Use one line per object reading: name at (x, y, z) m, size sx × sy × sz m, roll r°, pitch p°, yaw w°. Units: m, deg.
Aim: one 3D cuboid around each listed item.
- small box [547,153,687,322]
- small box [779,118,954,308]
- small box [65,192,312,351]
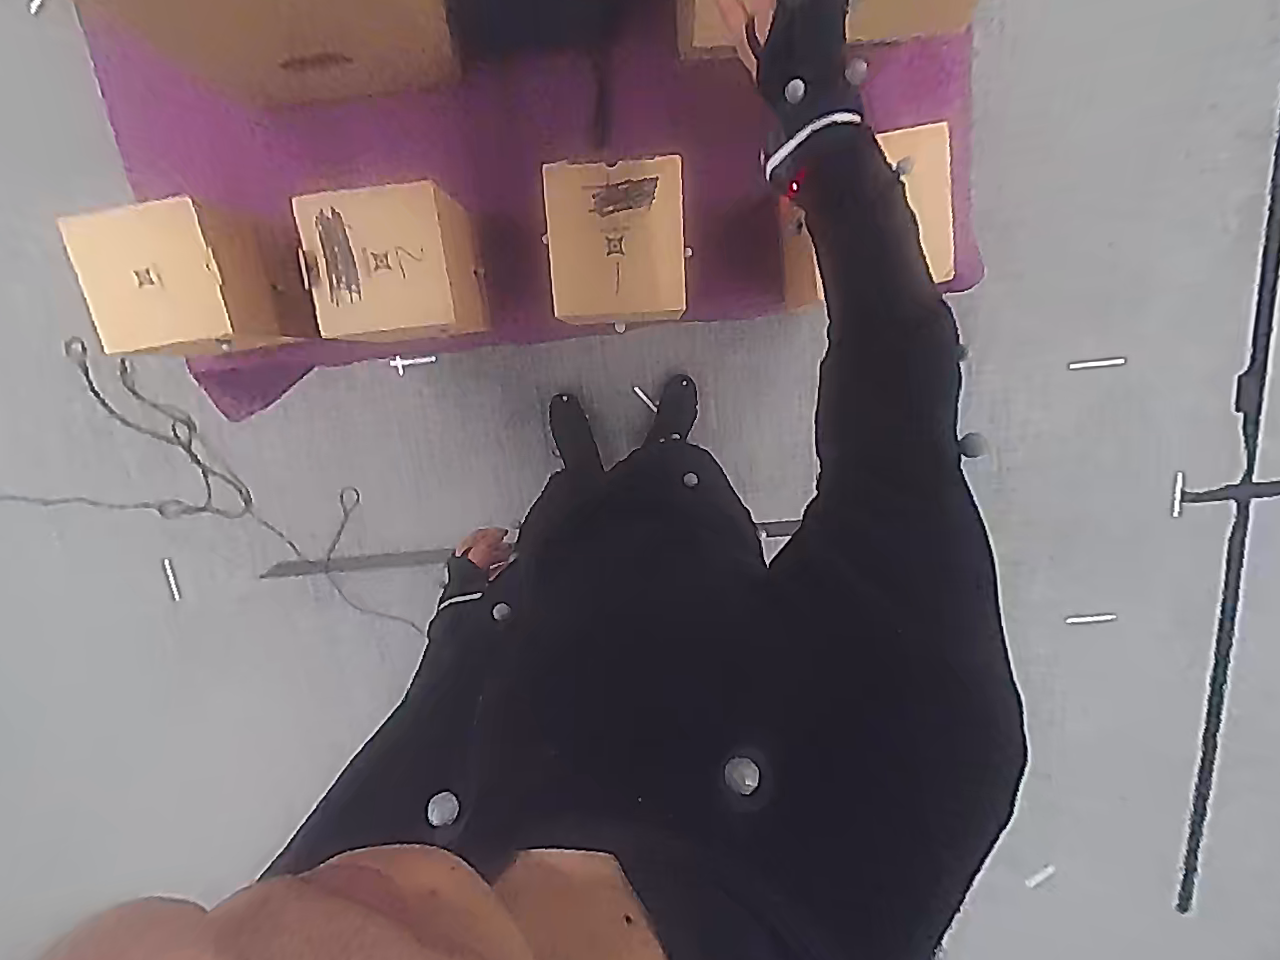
small box at (-0.025, -0.312, 0.728) m, size 0.168 × 0.176 × 0.179 m, roll -2°, pitch 104°, yaw 2°
small box at (0.287, -0.335, 0.714) m, size 0.168 × 0.176 × 0.179 m, roll -8°, pitch 103°, yaw 4°
small box at (-0.604, -0.274, 0.749) m, size 0.179 × 0.176 × 0.168 m, roll -9°, pitch 103°, yaw 2°
